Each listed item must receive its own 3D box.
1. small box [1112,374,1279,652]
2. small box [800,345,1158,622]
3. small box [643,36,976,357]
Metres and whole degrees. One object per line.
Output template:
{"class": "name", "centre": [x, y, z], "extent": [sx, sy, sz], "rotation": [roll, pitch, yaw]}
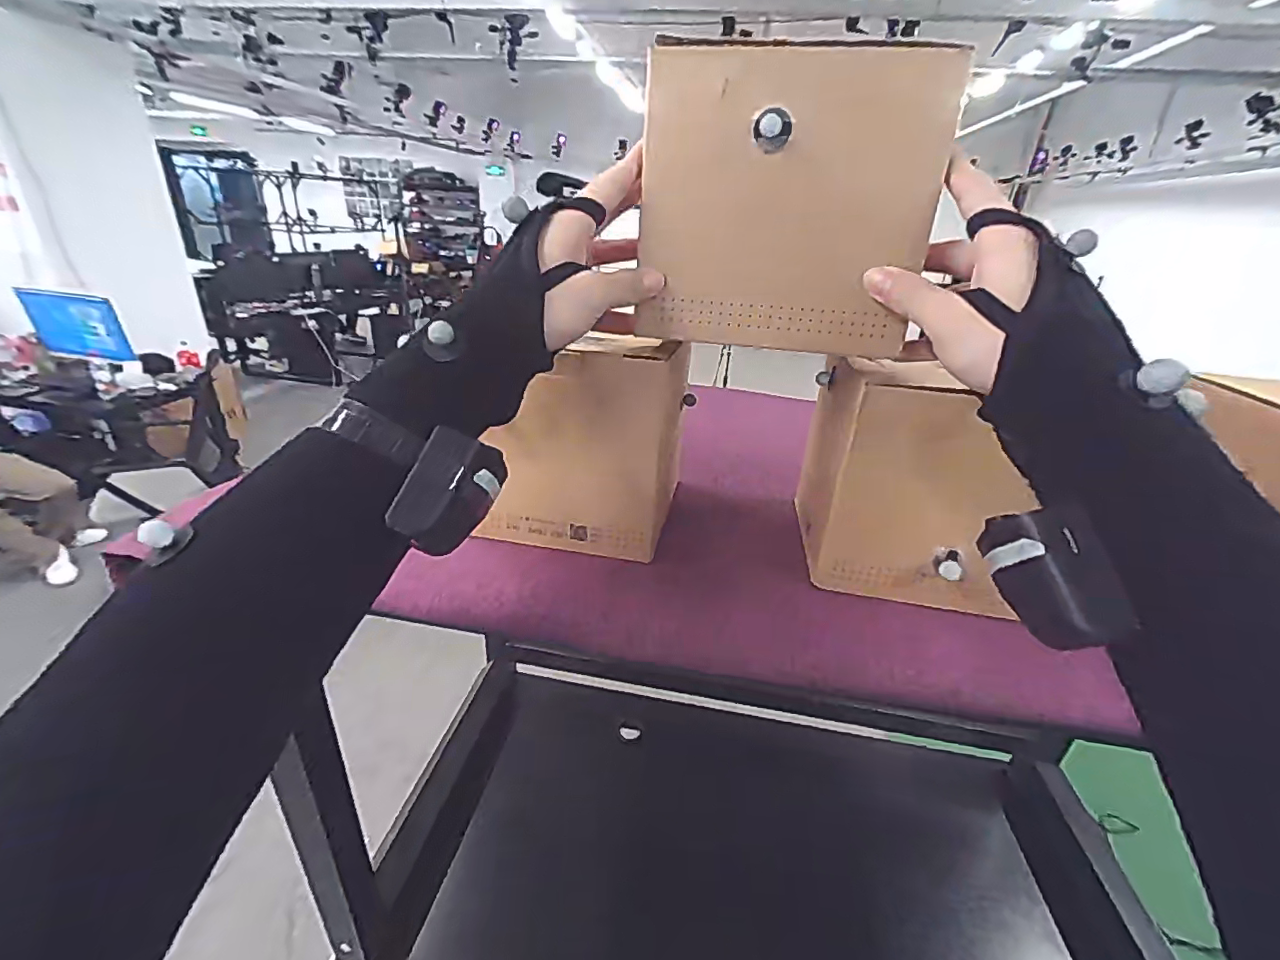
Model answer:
{"class": "small box", "centre": [0.515, 0.030, 0.403], "extent": [0.168, 0.176, 0.179], "rotation": [10, 25, 12]}
{"class": "small box", "centre": [0.241, -0.007, 0.443], "extent": [0.179, 0.176, 0.168], "rotation": [8, 24, 8]}
{"class": "small box", "centre": [0.103, -0.188, 0.396], "extent": [0.179, 0.176, 0.168], "rotation": [8, 22, 9]}
